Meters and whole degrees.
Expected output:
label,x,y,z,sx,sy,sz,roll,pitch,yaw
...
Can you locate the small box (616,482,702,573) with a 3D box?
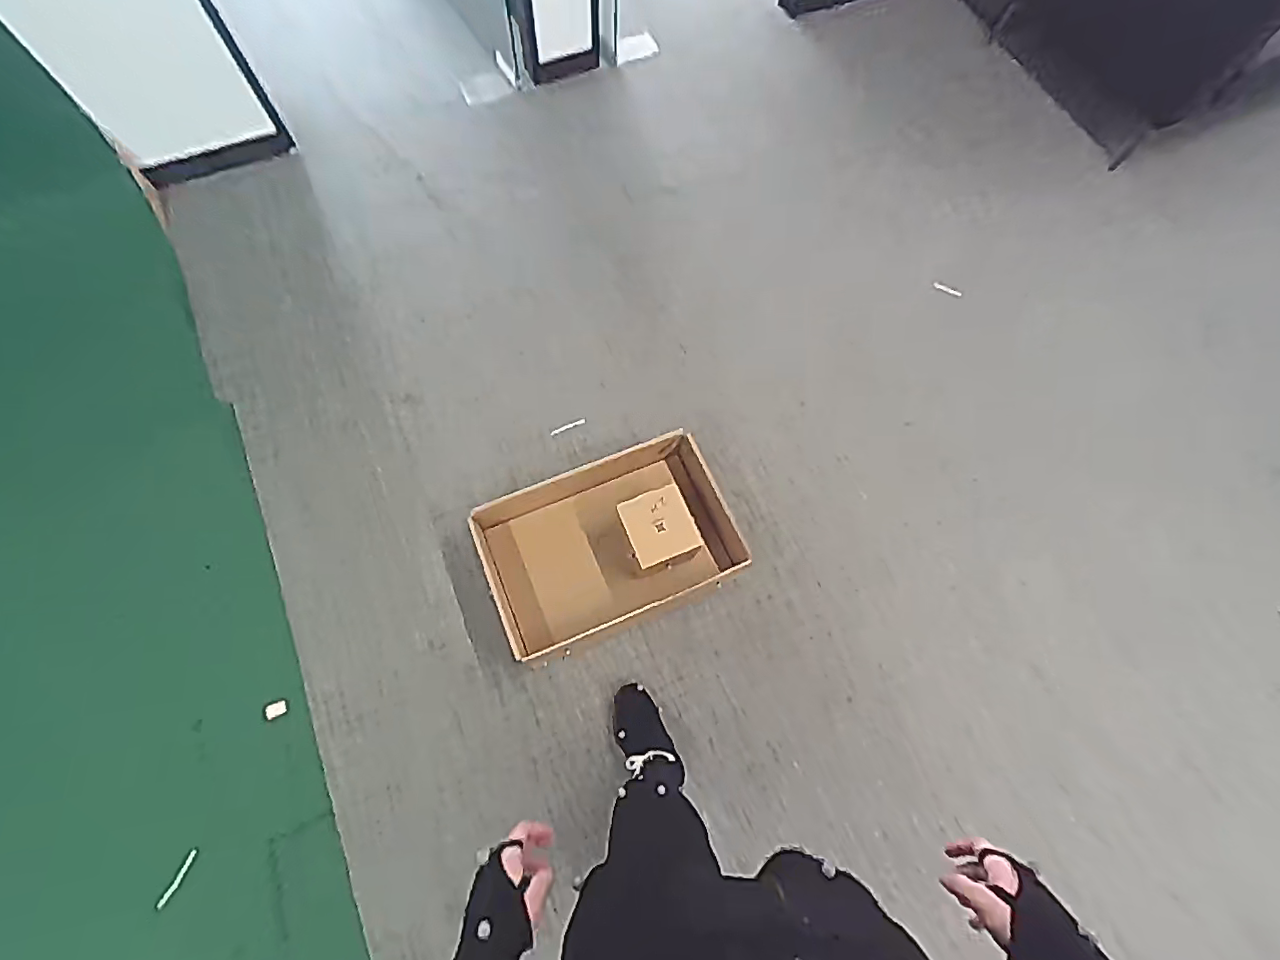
label,x,y,z,sx,sy,sz,roll,pitch,yaw
small box,0.044,0.131,1.398,0.168,0.176,0.179,-20,72,-10
